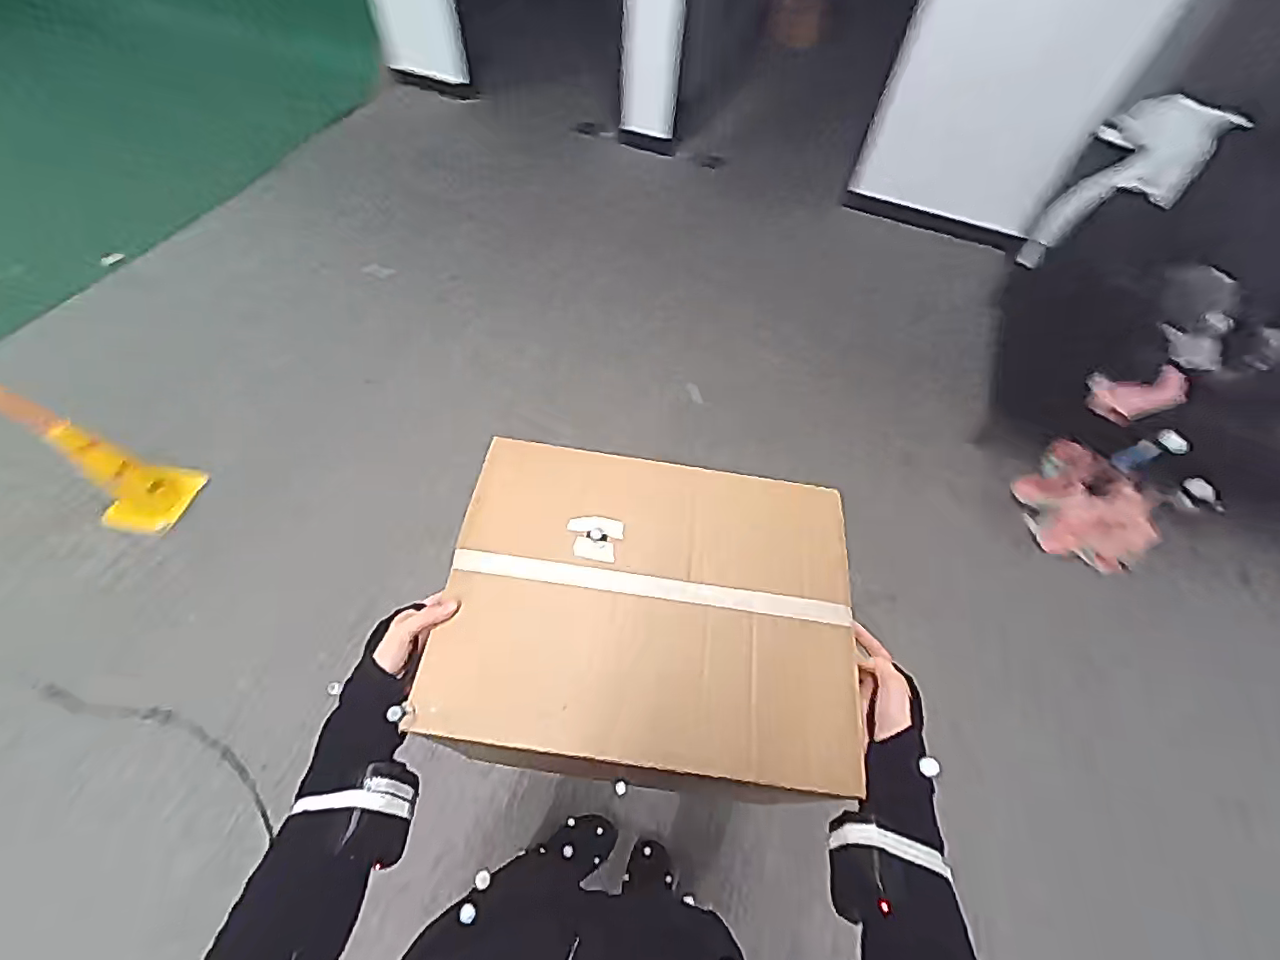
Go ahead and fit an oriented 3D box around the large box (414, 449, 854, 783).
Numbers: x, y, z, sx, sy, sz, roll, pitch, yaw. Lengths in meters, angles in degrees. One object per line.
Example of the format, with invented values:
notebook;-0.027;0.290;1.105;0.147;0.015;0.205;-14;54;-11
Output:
large box;0.002;0.190;0.684;0.408;0.320;0.320;7;58;0
